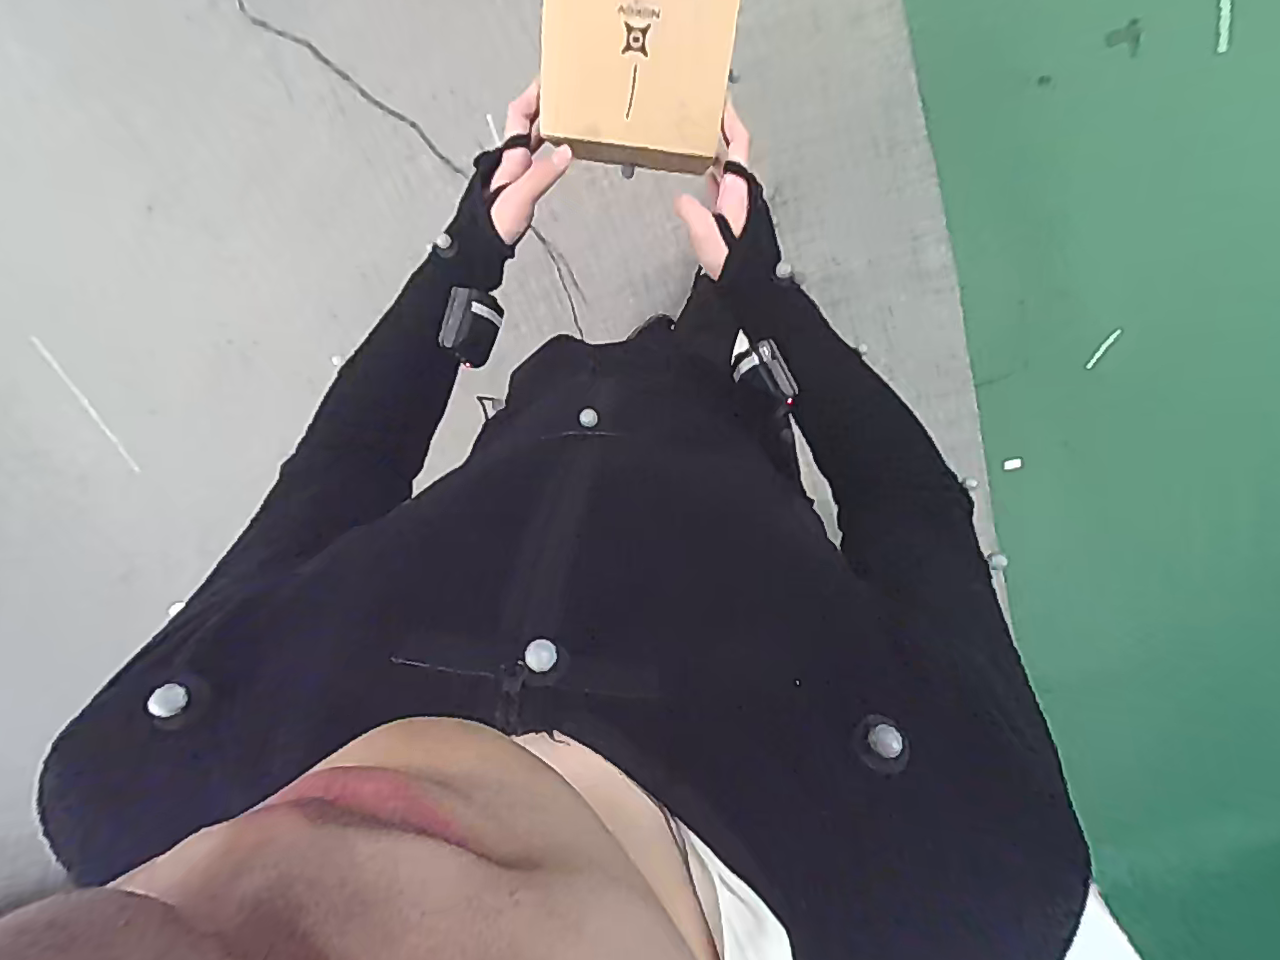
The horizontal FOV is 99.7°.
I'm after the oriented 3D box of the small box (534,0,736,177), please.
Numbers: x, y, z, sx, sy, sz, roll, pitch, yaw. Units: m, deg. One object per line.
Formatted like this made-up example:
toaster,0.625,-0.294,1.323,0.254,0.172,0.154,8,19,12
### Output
small box,-0.003,-0.414,0.531,0.168,0.176,0.179,7,115,0
